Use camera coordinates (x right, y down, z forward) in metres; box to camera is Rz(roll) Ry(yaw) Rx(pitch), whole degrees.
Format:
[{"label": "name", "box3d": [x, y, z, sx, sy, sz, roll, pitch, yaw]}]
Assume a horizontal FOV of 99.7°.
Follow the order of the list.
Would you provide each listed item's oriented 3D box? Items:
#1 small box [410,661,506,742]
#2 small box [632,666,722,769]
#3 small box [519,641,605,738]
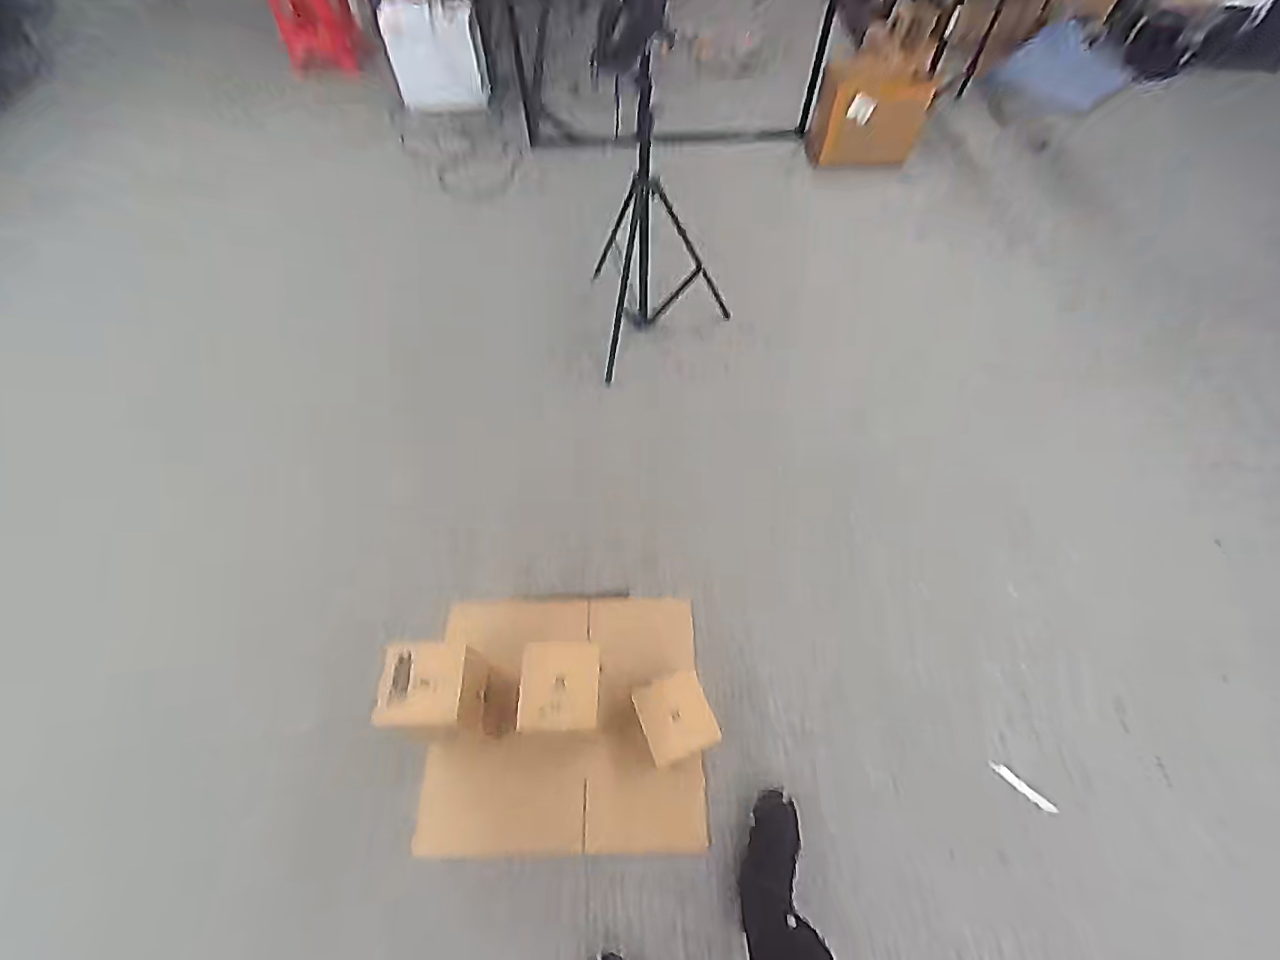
[{"label": "small box", "box3d": [-0.444, 0.555, 1.352, 0.179, 0.176, 0.168, -2, 59, 0]}, {"label": "small box", "box3d": [0.084, 0.589, 1.332, 0.168, 0.176, 0.179, -19, 60, -10]}, {"label": "small box", "box3d": [-0.167, 0.472, 1.212, 0.168, 0.176, 0.179, 0, 60, 0]}]
